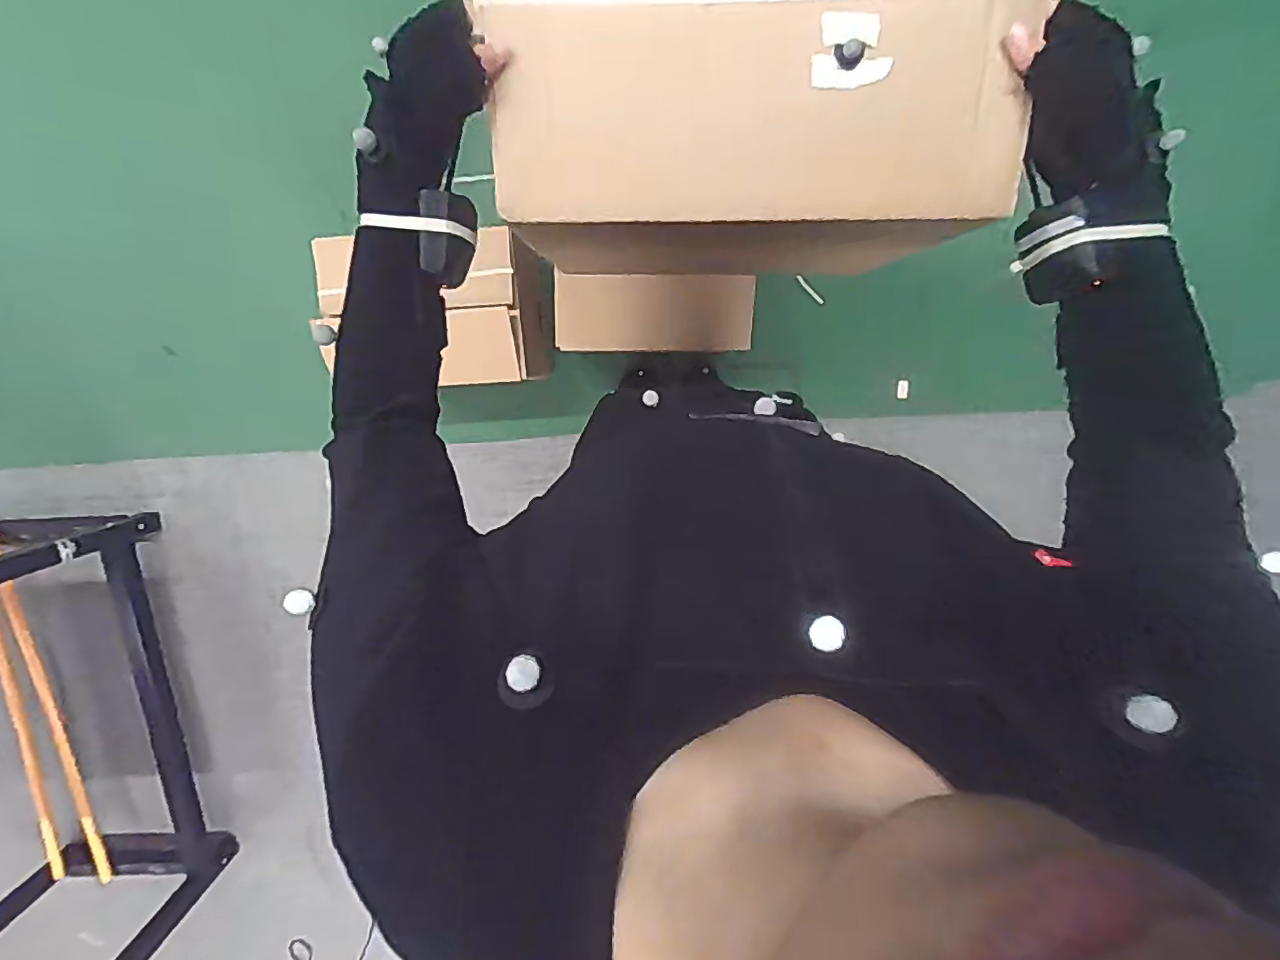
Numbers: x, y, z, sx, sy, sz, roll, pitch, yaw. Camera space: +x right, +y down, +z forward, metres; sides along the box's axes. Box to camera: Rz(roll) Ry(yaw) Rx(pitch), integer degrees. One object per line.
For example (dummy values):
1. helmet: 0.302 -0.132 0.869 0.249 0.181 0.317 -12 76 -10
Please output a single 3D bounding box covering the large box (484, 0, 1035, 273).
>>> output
1. large box: 0.084 -0.391 0.530 0.408 0.320 0.320 0 104 1
